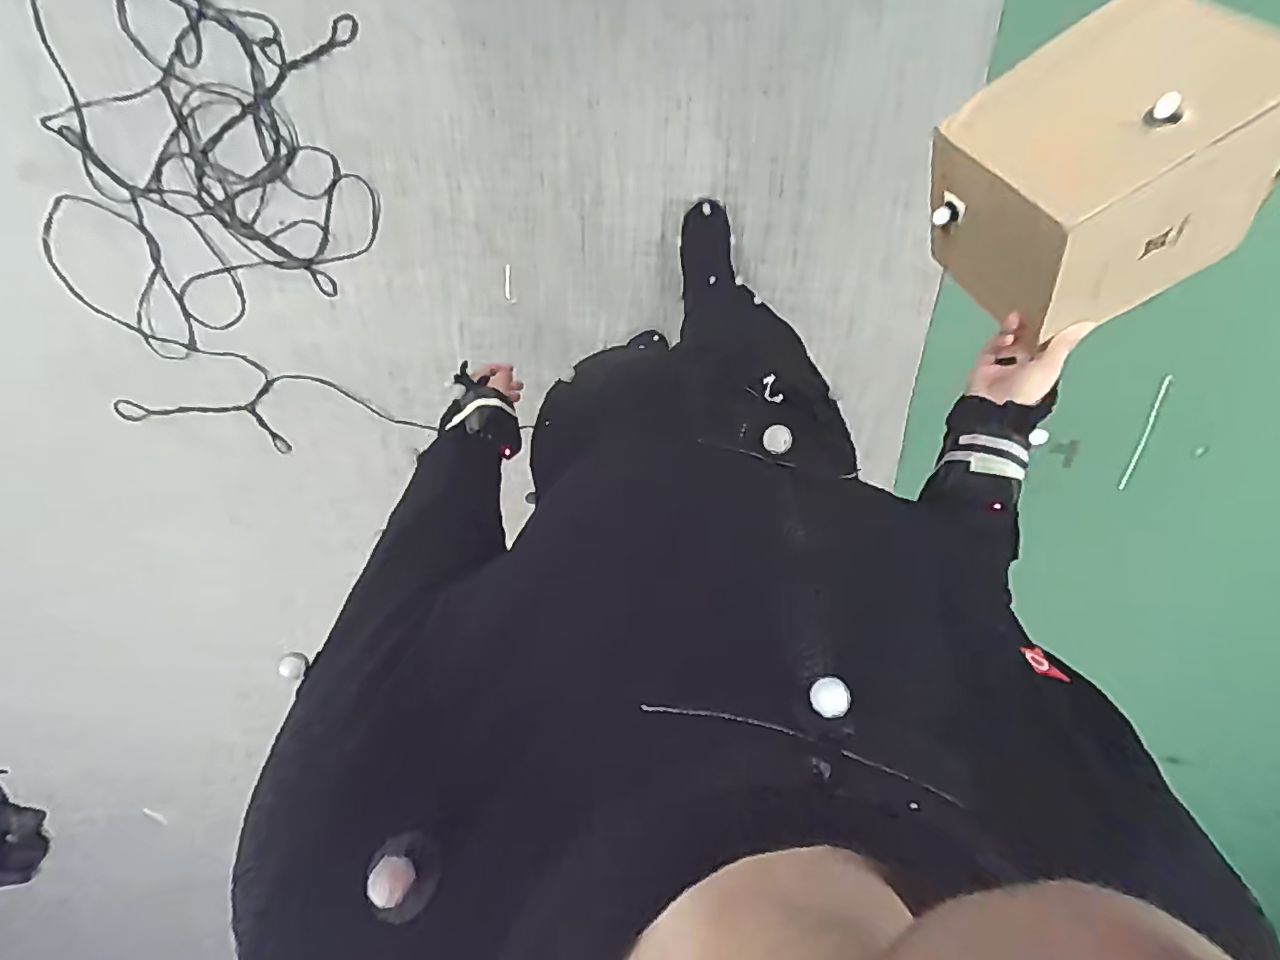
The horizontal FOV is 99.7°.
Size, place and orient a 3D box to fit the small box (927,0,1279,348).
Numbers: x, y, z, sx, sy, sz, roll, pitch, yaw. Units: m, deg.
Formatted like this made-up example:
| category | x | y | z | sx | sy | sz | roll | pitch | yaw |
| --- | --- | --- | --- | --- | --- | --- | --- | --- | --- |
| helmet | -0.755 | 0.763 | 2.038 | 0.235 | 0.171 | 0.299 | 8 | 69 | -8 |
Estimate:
| category | x | y | z | sx | sy | sz | roll | pitch | yaw |
| --- | --- | --- | --- | --- | --- | --- | --- | --- | --- |
| small box | 0.376 | -0.256 | 0.457 | 0.179 | 0.176 | 0.168 | -32 | 146 | 14 |
